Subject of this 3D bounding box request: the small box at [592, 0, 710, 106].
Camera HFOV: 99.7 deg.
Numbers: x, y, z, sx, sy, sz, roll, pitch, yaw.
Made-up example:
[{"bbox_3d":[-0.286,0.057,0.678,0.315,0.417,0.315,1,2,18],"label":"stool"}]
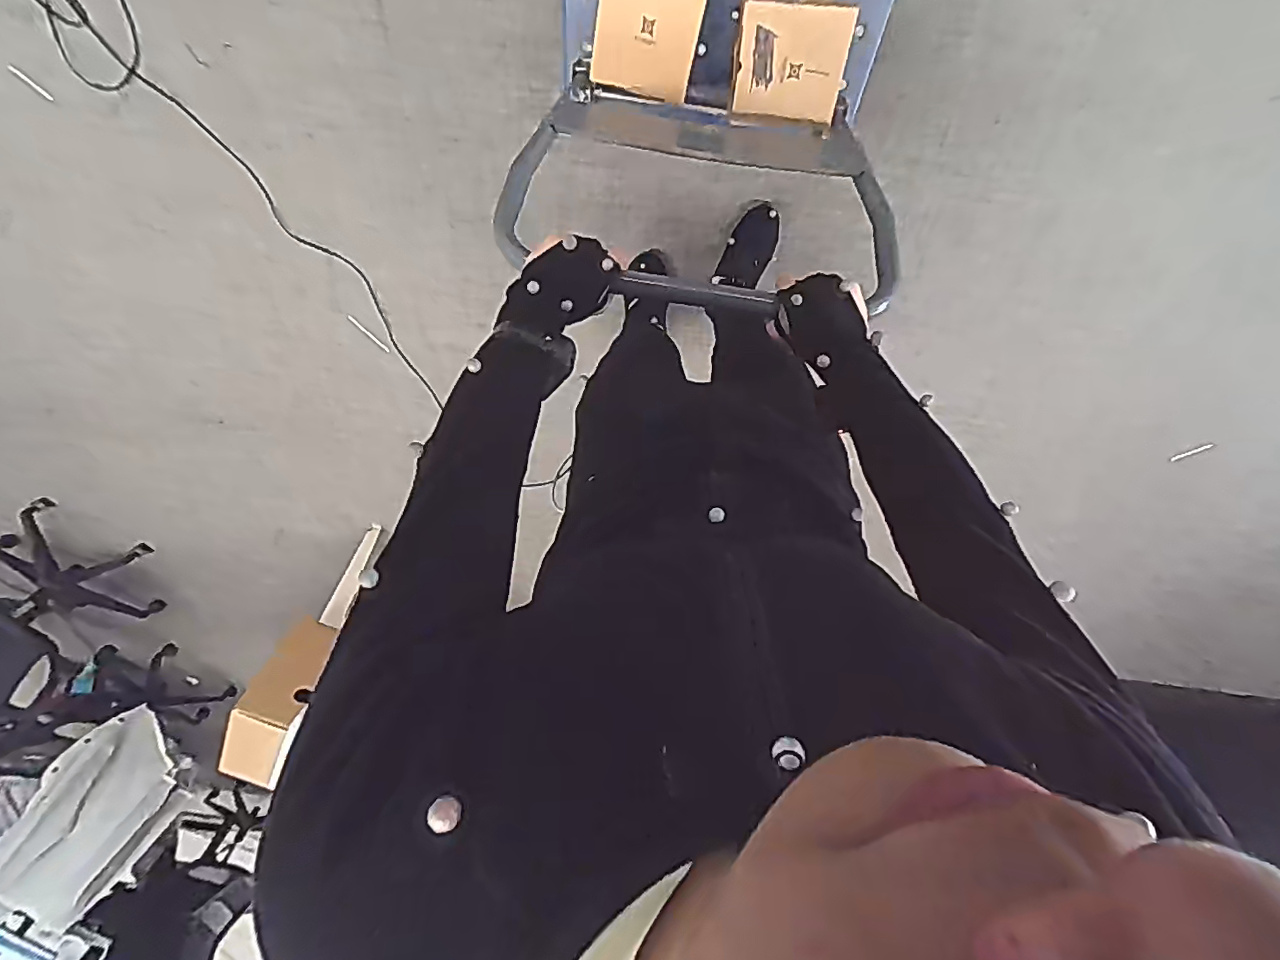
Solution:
[{"bbox_3d":[0.022,-0.778,0.917,0.168,0.176,0.179,13,138,-5],"label":"small box"}]
